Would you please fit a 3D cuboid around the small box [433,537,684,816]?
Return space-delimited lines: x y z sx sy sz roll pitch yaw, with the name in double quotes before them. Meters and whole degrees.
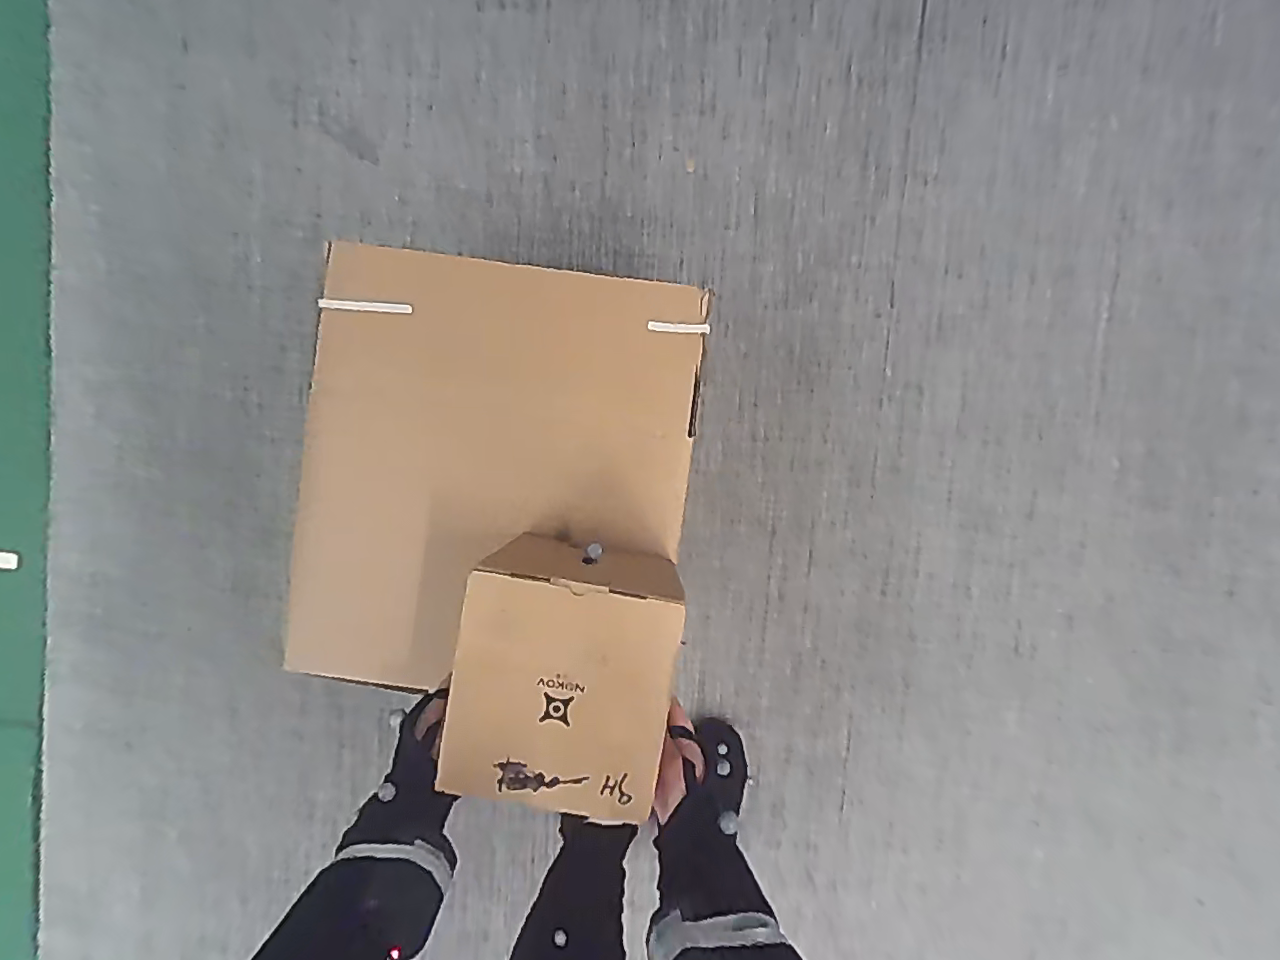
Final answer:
"small box" -0.063 0.155 0.487 0.168 0.176 0.179 10 91 -1
